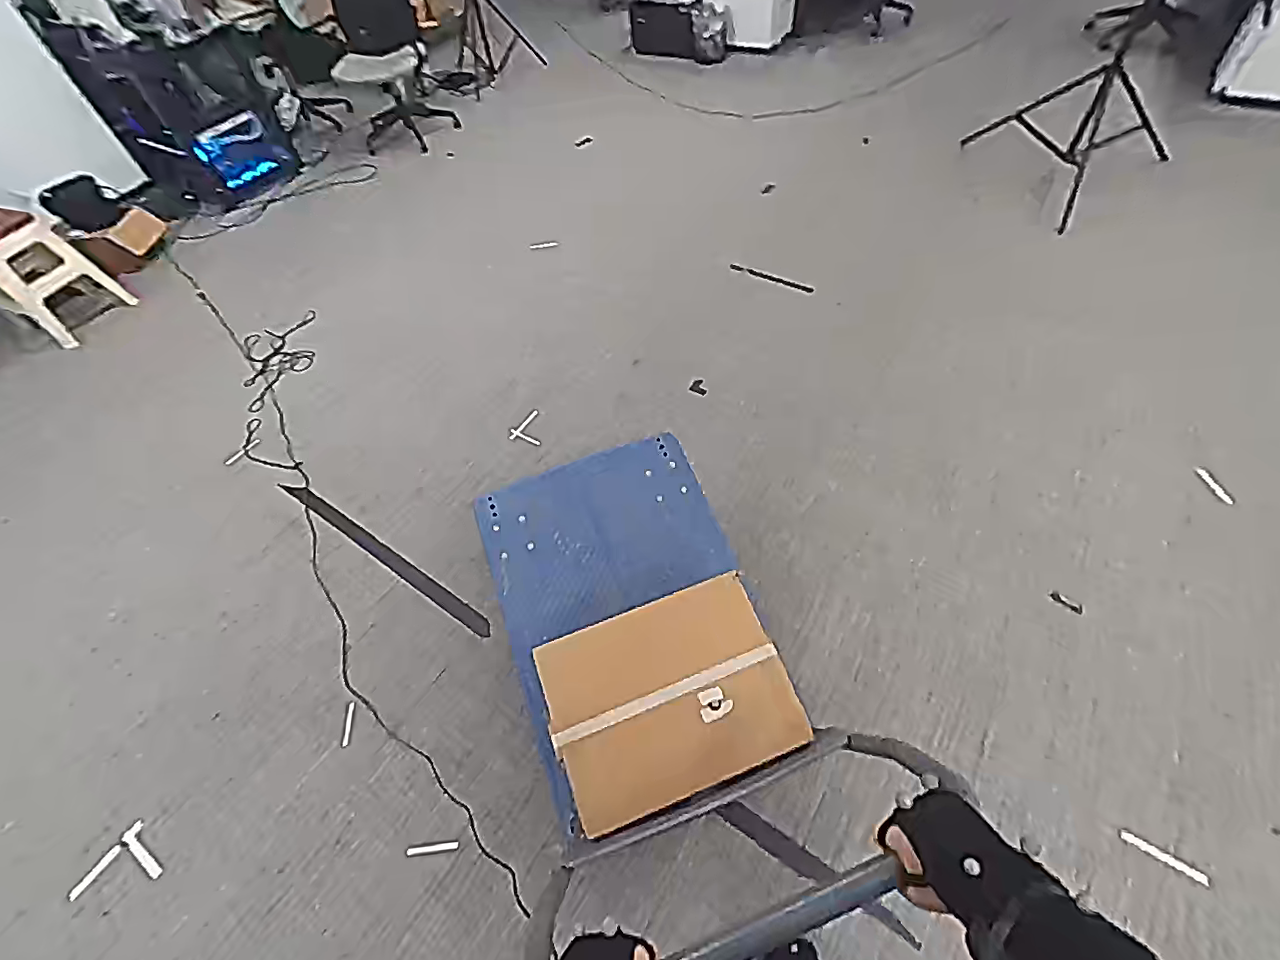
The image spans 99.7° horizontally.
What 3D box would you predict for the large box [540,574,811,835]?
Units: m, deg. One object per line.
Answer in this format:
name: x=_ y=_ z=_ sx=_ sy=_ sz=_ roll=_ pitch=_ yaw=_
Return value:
large box: x=0.056 y=0.441 z=1.084 sx=0.408 sy=0.320 sz=0.320 roll=-20 pitch=66 yaw=-9
